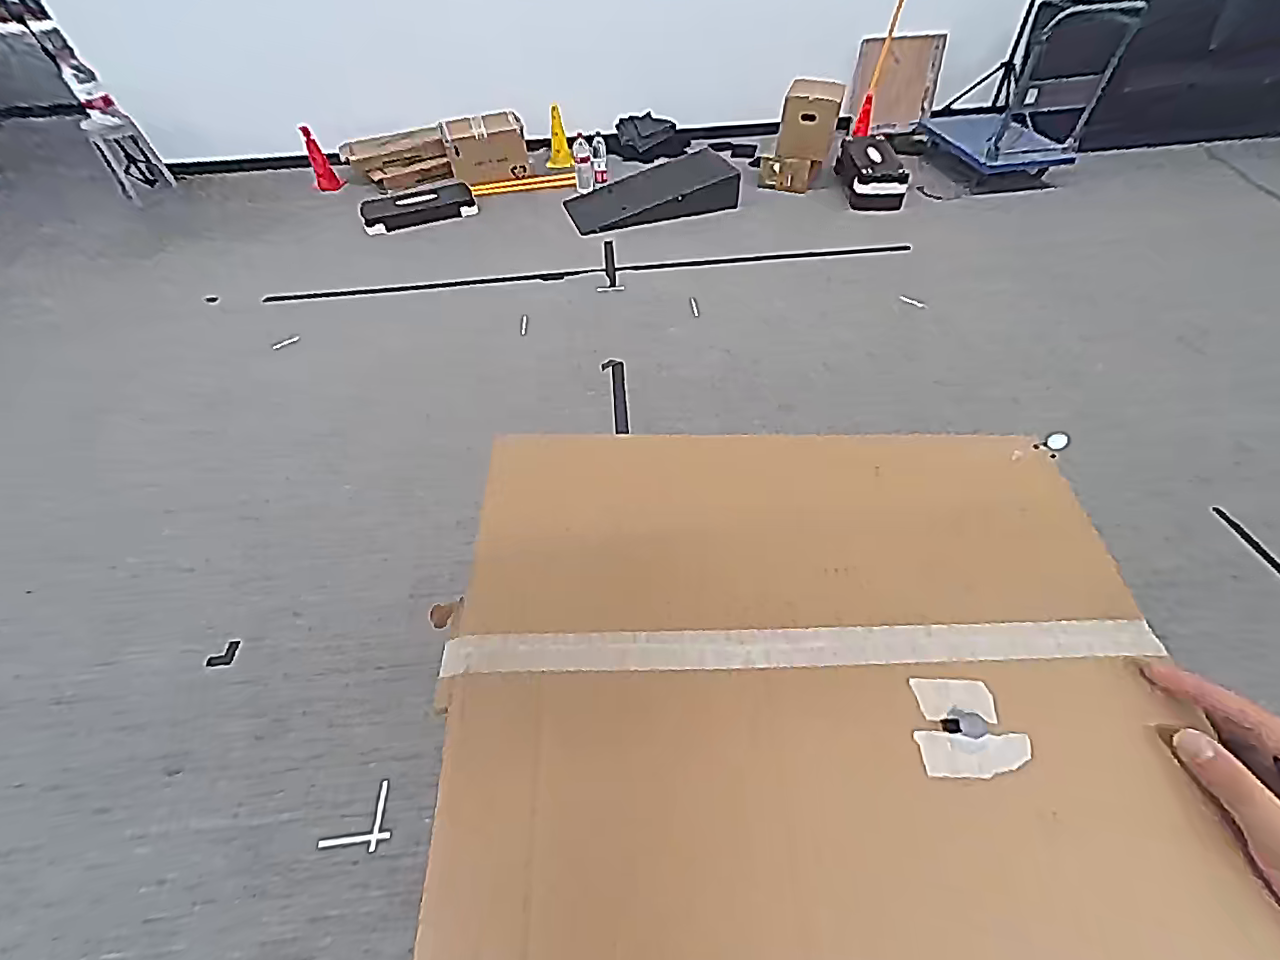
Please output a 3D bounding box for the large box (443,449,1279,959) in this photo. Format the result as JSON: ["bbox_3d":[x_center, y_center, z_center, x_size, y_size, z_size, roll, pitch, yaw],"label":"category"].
[{"bbox_3d":[0.094,0.189,0.442,0.408,0.320,0.320,0,56,-4],"label":"large box"}]
